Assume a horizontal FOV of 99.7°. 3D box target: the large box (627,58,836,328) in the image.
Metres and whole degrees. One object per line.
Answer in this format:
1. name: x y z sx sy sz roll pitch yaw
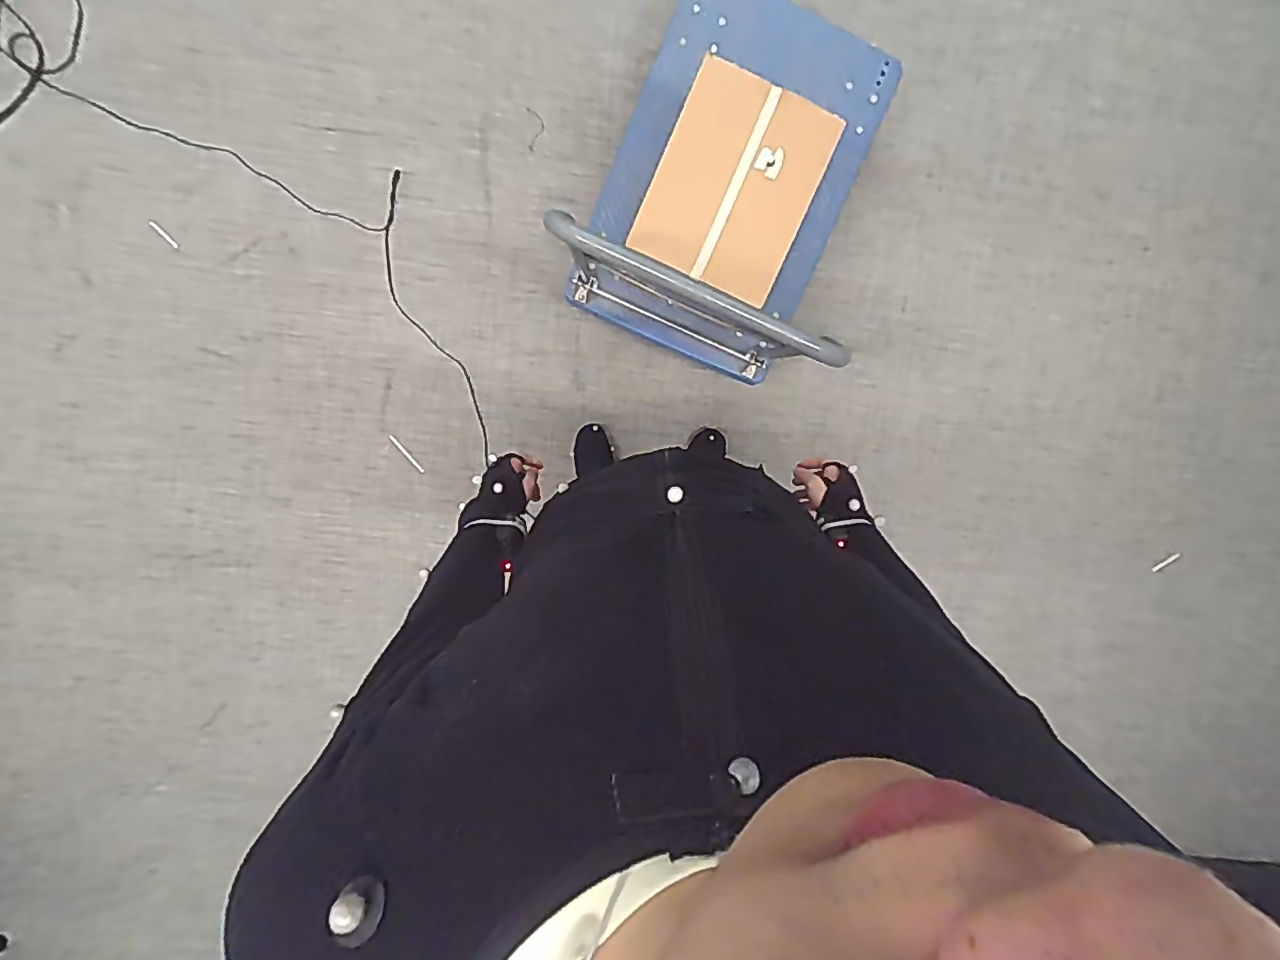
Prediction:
1. large box: 0.181 -0.618 1.251 0.320 0.320 0.408 24 95 -5
